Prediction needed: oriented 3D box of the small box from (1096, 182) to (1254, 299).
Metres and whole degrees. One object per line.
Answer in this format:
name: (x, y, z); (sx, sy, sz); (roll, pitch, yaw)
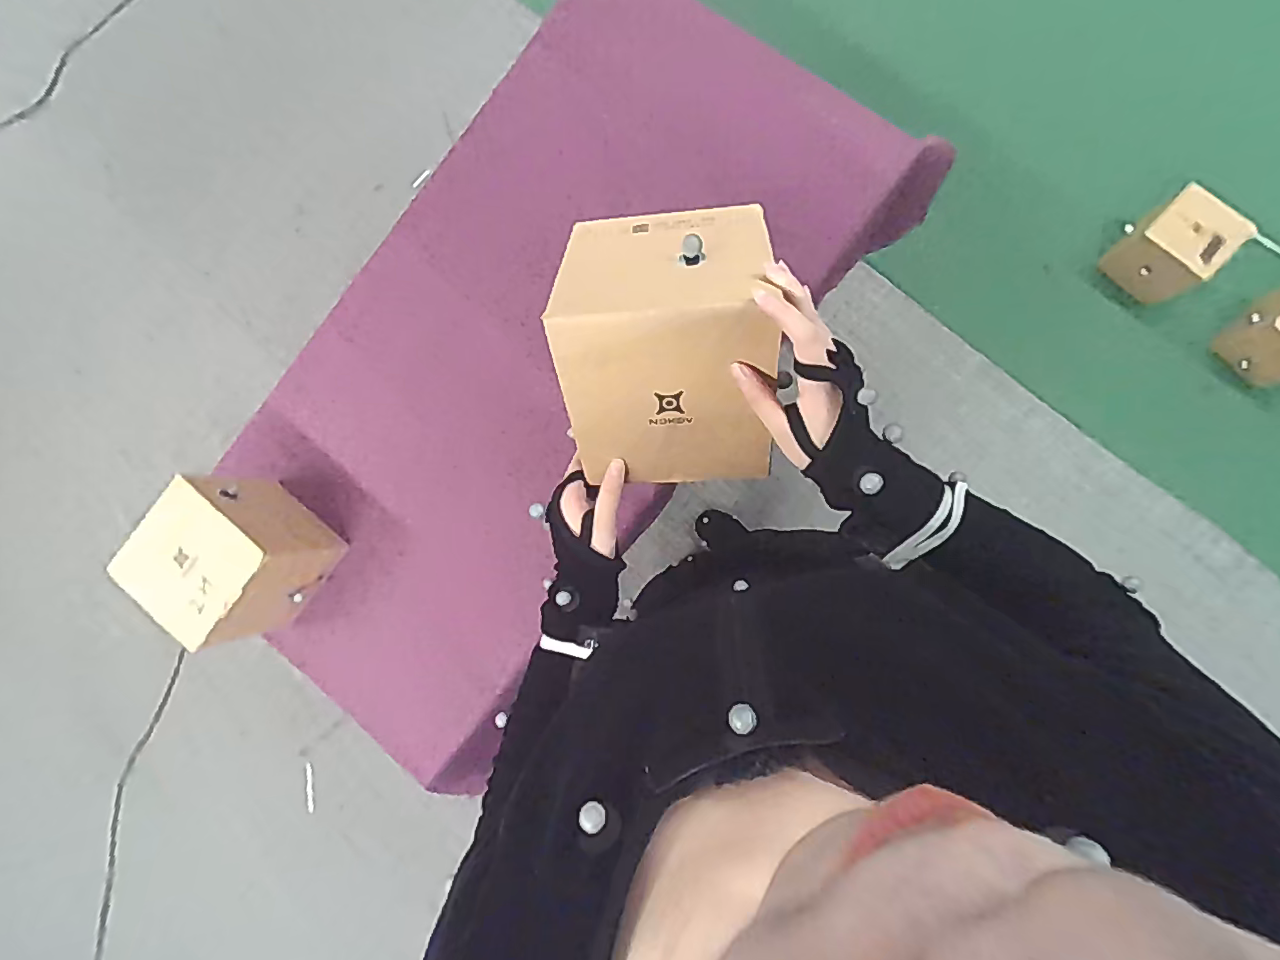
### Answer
small box: (1.298, -0.572, 1.326); (0.179, 0.176, 0.168); (44, 92, 8)

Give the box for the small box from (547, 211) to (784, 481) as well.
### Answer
small box: (0.027, -0.120, 0.479); (0.168, 0.179, 0.176); (-2, 48, 7)

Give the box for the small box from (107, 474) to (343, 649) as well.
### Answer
small box: (-0.588, 0.112, 0.788); (0.179, 0.176, 0.168); (38, 92, 7)
